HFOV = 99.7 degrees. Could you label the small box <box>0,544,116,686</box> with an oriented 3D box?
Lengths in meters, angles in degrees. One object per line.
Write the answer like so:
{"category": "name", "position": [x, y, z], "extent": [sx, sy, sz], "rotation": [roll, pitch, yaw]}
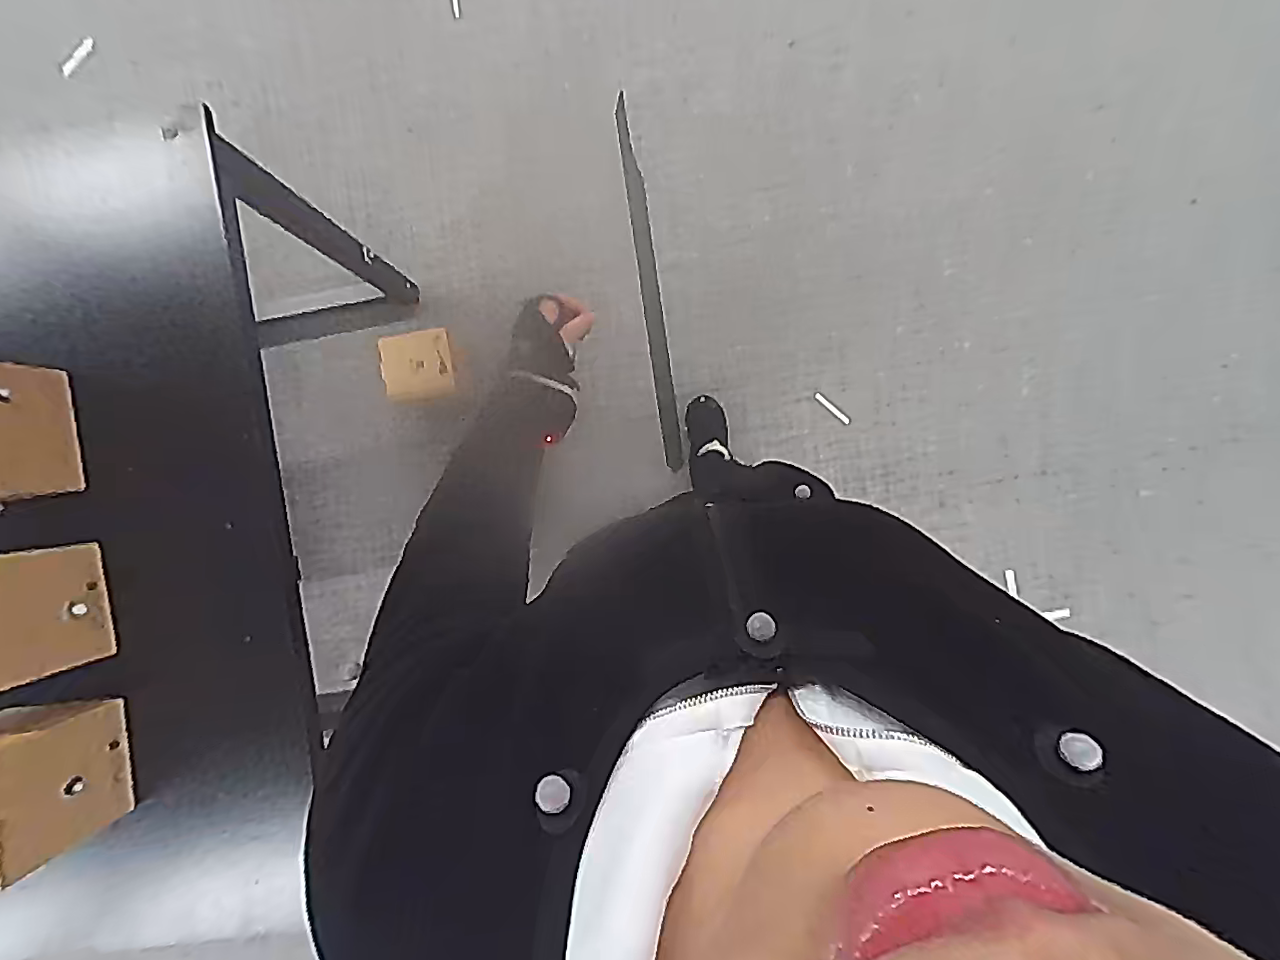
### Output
{"category": "small box", "position": [-0.866, 0.185, 0.716], "extent": [0.179, 0.176, 0.168], "rotation": [-9, 90, 1]}

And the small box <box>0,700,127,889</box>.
{"category": "small box", "position": [-0.836, 0.408, 0.718], "extent": [0.179, 0.176, 0.168], "rotation": [-6, 89, 2]}

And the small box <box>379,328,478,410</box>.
{"category": "small box", "position": [-0.552, -0.286, 1.428], "extent": [0.179, 0.176, 0.168], "rotation": [-10, 91, 2]}

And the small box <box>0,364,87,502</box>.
{"category": "small box", "position": [-0.904, -0.060, 0.717], "extent": [0.168, 0.176, 0.179], "rotation": [-9, 91, 3]}
